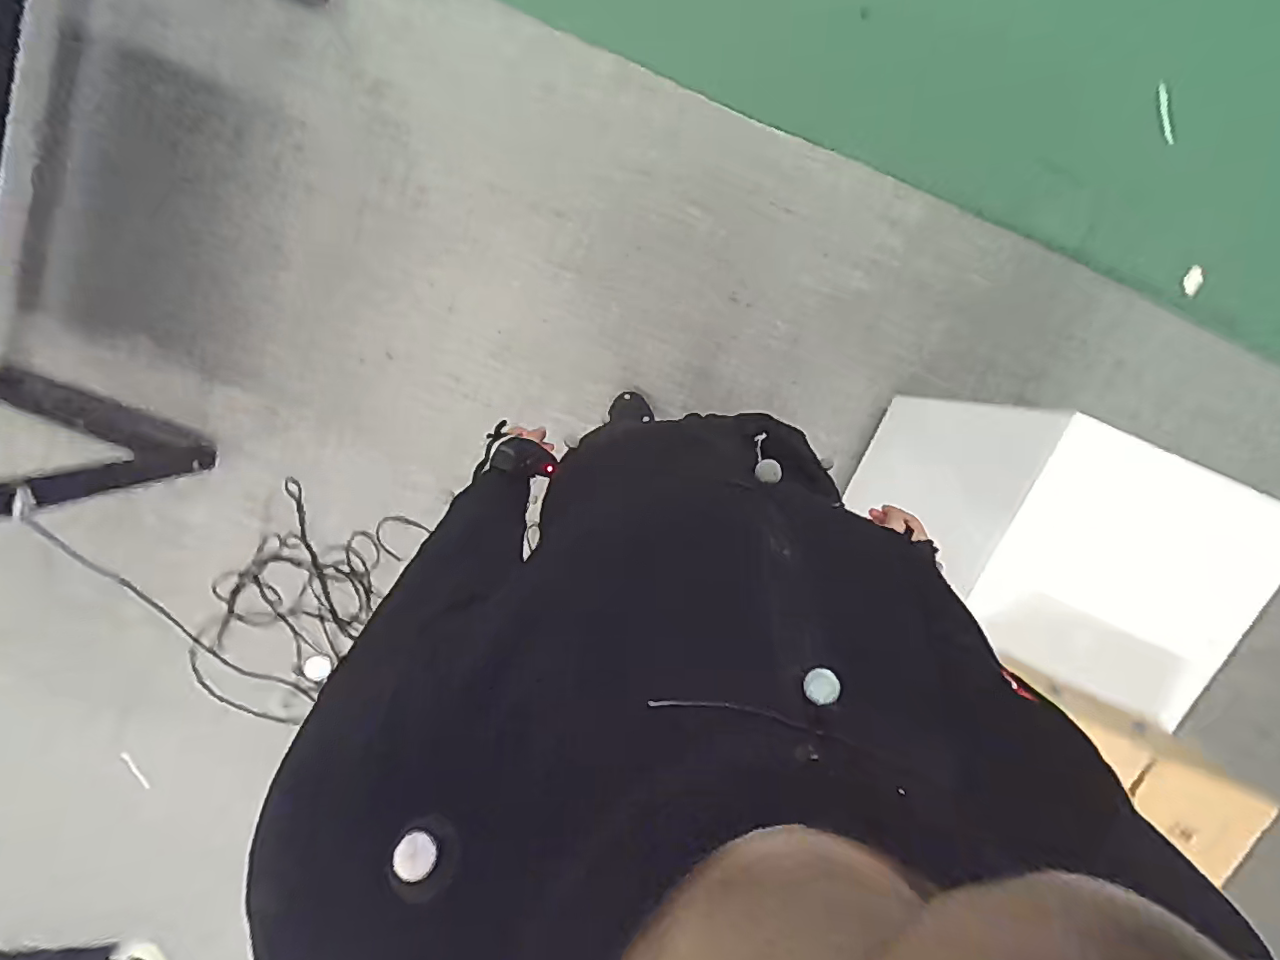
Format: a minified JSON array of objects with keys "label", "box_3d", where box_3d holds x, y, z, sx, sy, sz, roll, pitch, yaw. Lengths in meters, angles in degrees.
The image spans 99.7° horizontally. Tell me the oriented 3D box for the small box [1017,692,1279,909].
[{"label":"small box","box_3d":[0.679,0.424,0.745,0.179,0.176,0.168,22,101,-4]}]
